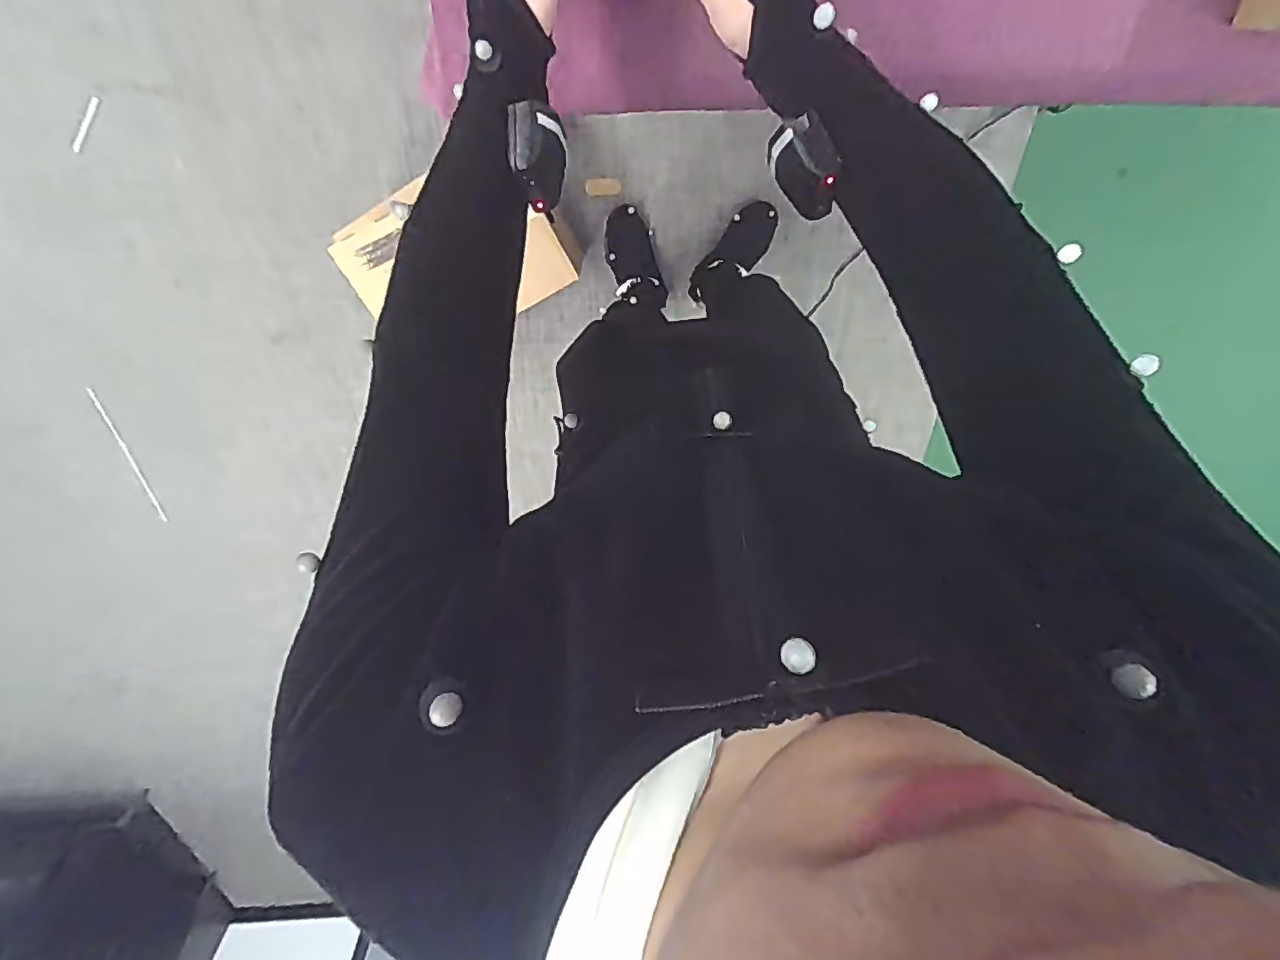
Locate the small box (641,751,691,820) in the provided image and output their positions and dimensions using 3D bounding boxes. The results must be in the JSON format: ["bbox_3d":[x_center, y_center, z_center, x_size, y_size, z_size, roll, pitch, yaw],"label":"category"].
[{"bbox_3d":[0.102,1.211,2.146,0.168,0.176,0.179,8,119,-5],"label":"small box"}]

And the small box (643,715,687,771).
[{"bbox_3d":[0.103,1.125,2.285,0.168,0.176,0.179,5,119,-2],"label":"small box"}]

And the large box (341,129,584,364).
[{"bbox_3d":[-0.380,-0.537,1.258,0.408,0.320,0.320,-26,119,11],"label":"large box"}]

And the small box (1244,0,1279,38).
[{"bbox_3d":[0.783,-0.563,0.530,0.168,0.176,0.179,1,118,-2],"label":"small box"}]
